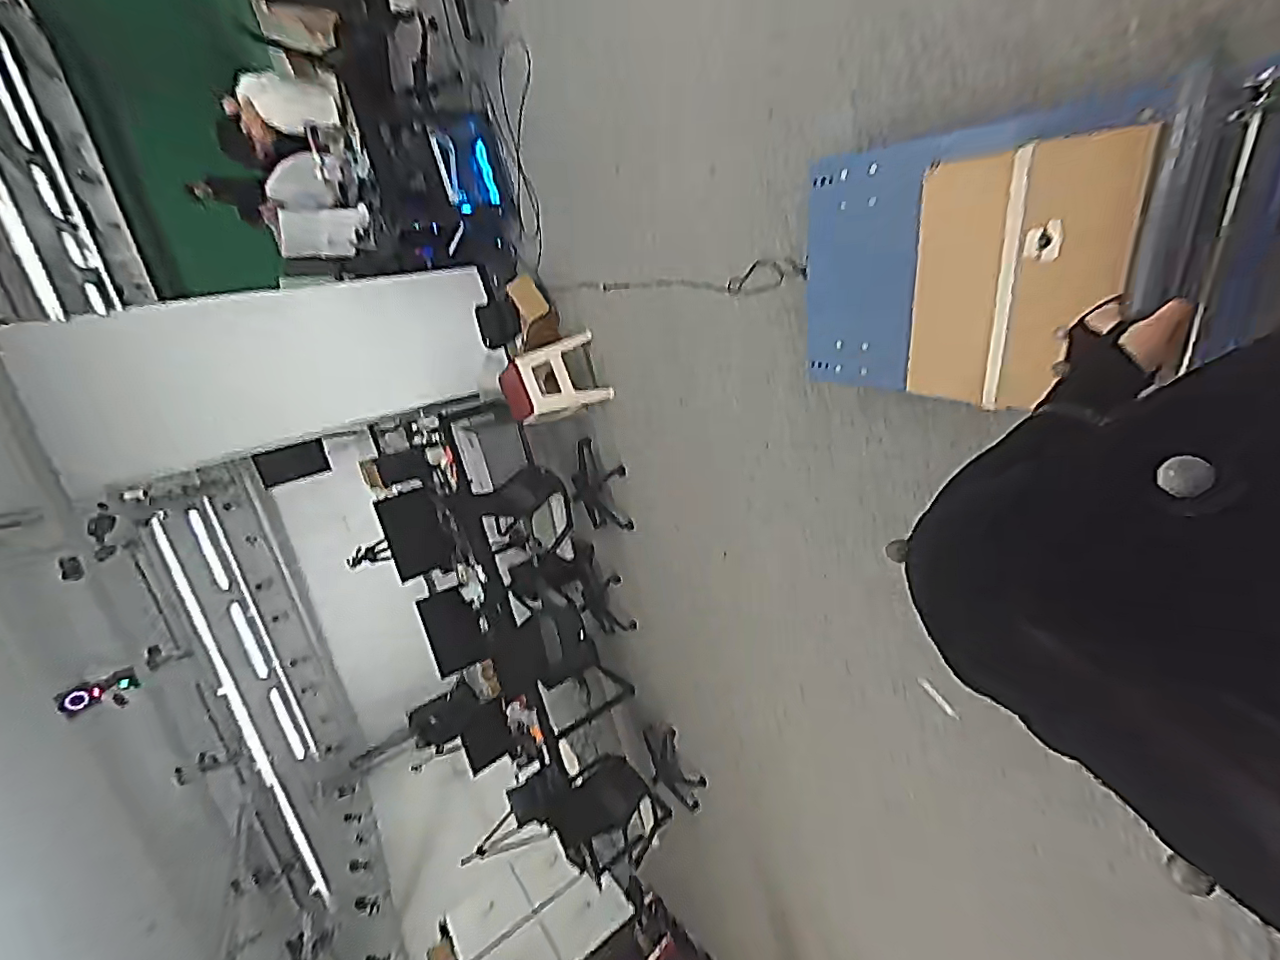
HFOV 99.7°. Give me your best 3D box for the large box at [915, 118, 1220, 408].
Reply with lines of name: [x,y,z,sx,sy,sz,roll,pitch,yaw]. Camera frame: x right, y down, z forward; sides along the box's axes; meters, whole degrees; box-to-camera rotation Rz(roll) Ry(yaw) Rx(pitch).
large box: [0.738,-0.373,0.971,0.320,0.320,0.408,22,126,50]
